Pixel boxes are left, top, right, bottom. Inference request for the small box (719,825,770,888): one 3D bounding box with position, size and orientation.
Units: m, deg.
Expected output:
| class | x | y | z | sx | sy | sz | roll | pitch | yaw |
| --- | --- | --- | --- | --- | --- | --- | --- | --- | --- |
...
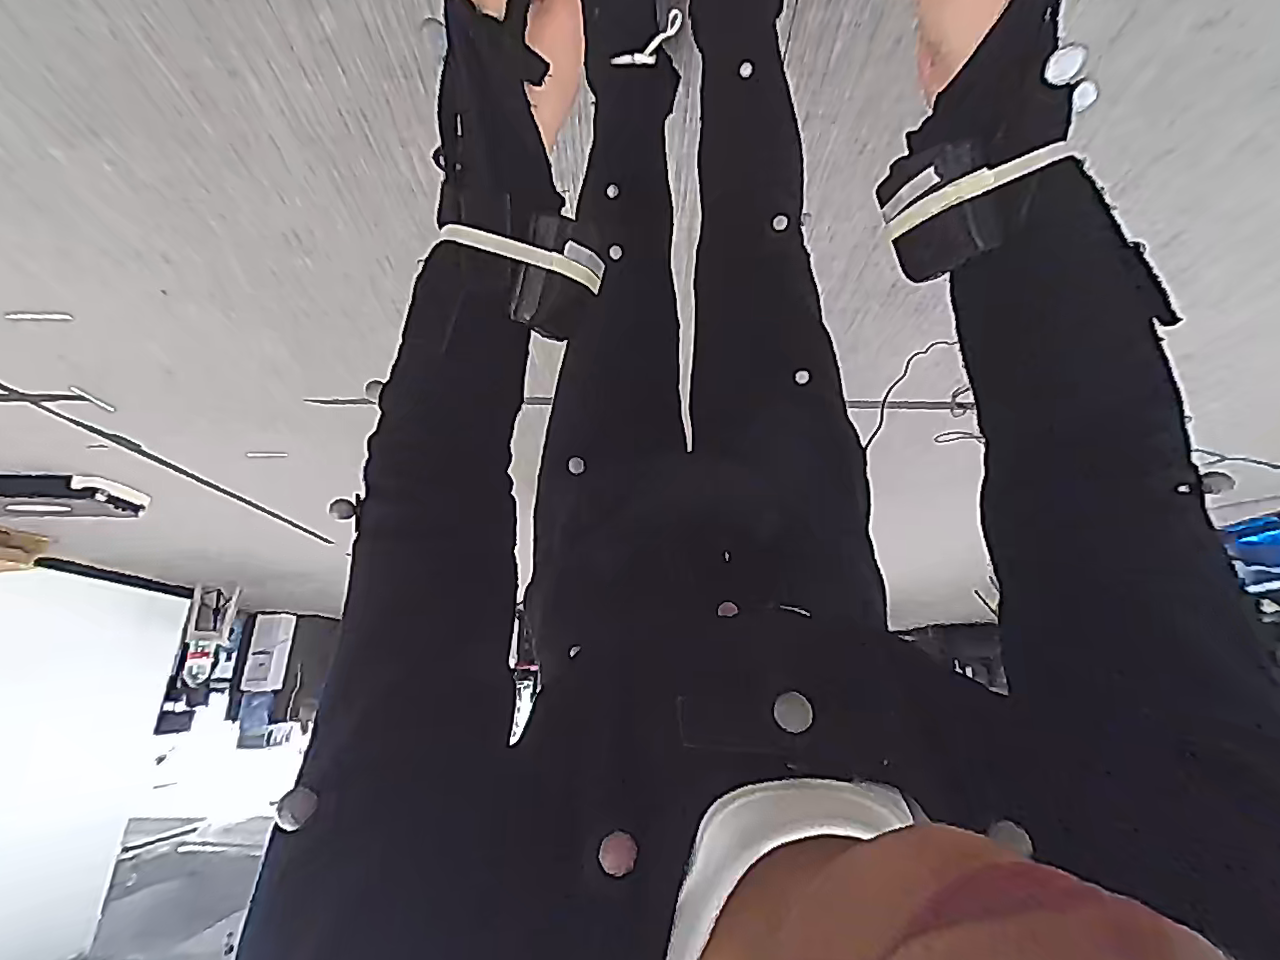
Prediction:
| class | x | y | z | sx | sy | sz | roll | pitch | yaw |
| --- | --- | --- | --- | --- | --- | --- | --- | --- | --- |
| small box | 0.394 | 1.434 | 2.068 | 0.168 | 0.176 | 0.179 | -1 | 159 | 1 |
